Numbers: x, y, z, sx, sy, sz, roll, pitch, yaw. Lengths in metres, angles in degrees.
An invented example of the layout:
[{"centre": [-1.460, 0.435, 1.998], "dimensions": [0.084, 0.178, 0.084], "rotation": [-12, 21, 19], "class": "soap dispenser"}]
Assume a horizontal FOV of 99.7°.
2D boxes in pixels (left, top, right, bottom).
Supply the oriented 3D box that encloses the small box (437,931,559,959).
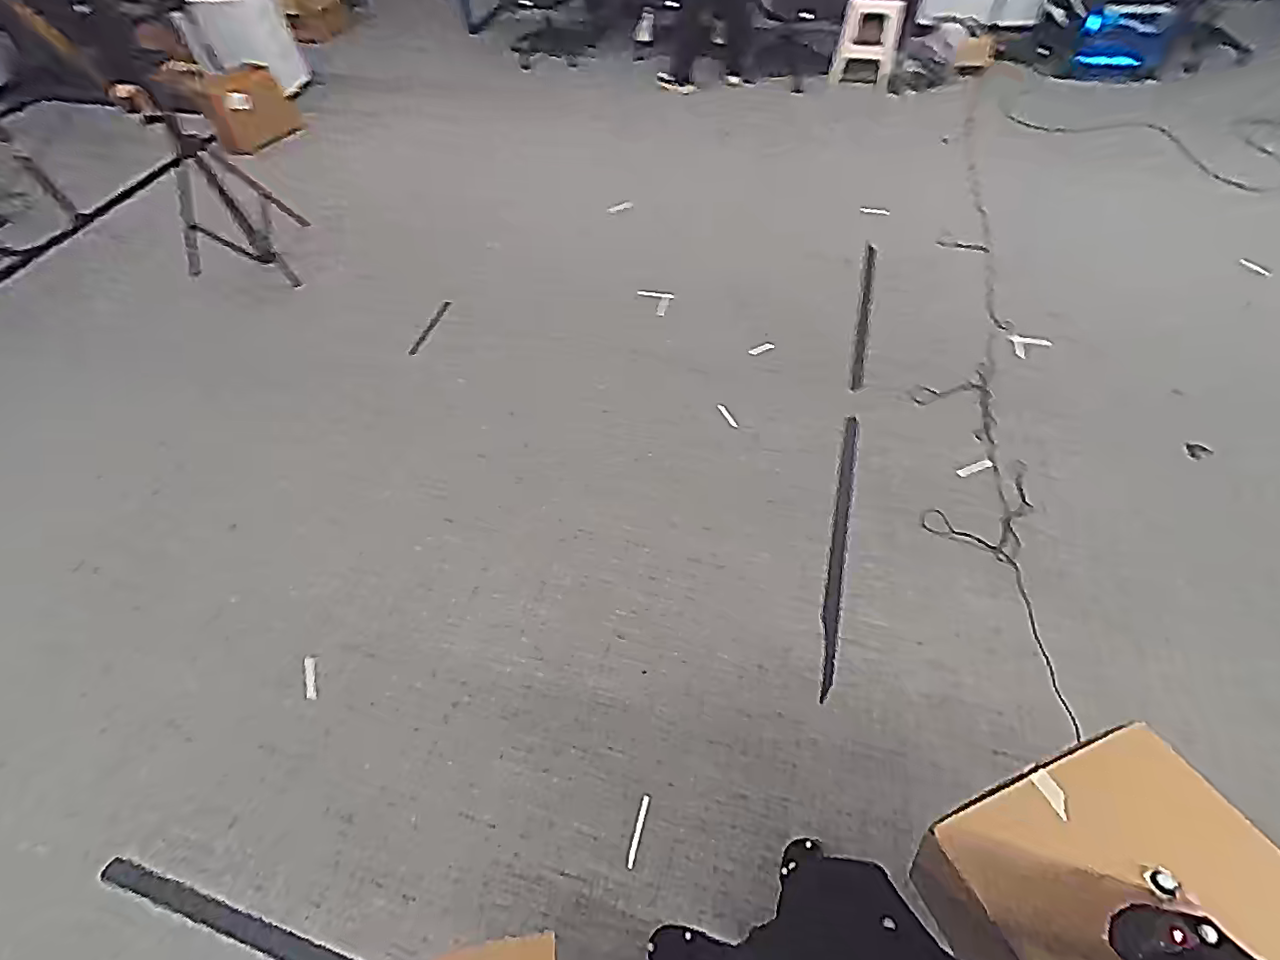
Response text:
[{"centre": [-0.180, 0.721, 0.668], "dimensions": [0.168, 0.179, 0.176], "rotation": [-2, 87, -9], "class": "small box"}]
